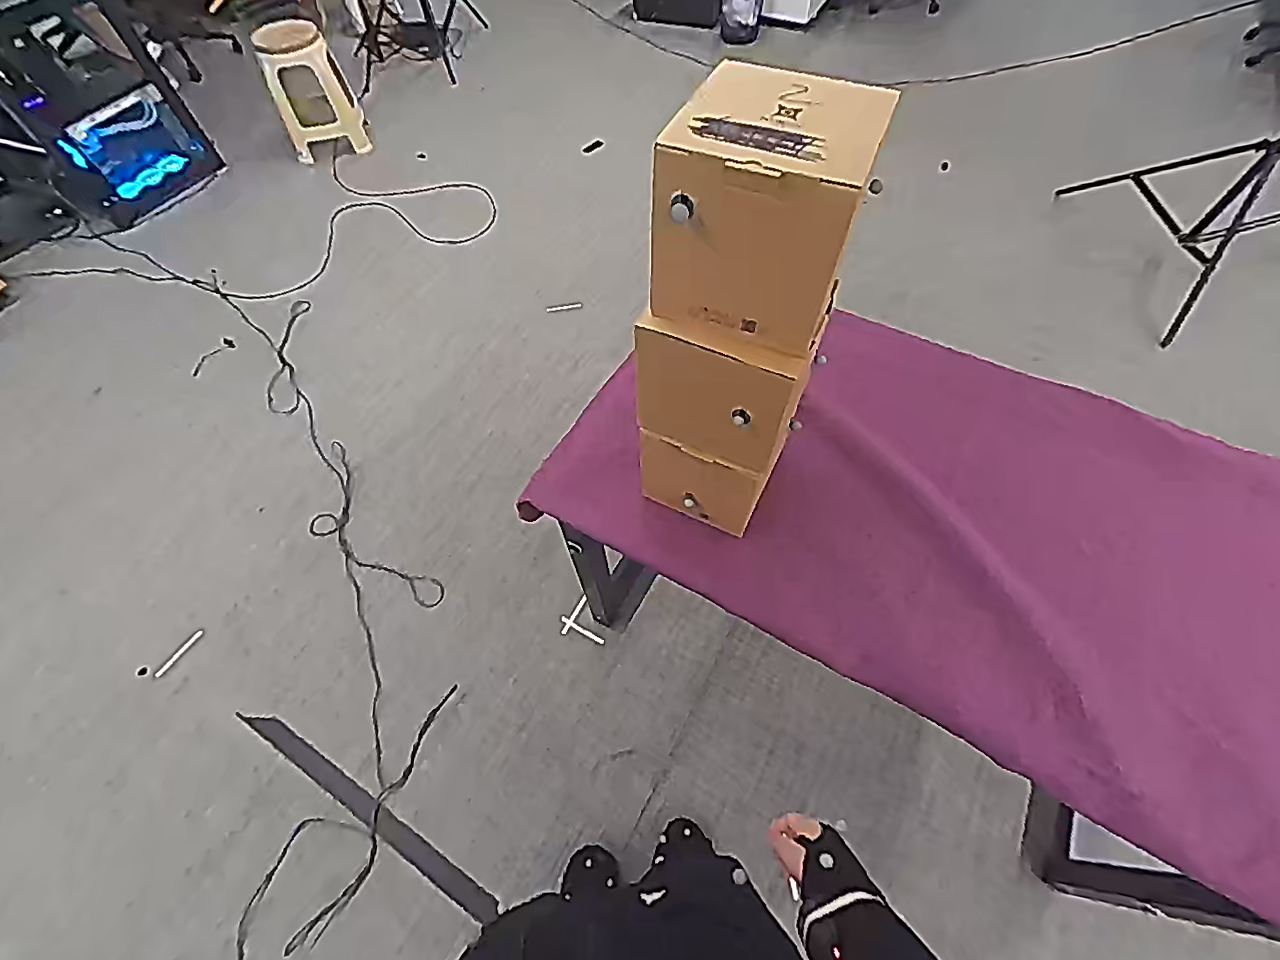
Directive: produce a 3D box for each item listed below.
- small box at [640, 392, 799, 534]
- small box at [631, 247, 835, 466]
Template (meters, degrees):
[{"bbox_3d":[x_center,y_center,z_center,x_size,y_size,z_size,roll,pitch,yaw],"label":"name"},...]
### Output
[{"bbox_3d":[0.109,-0.054,0.784,0.168,0.176,0.179,23,62,15],"label":"small box"},{"bbox_3d":[0.104,-0.140,0.647,0.179,0.176,0.168,22,60,15],"label":"small box"}]
